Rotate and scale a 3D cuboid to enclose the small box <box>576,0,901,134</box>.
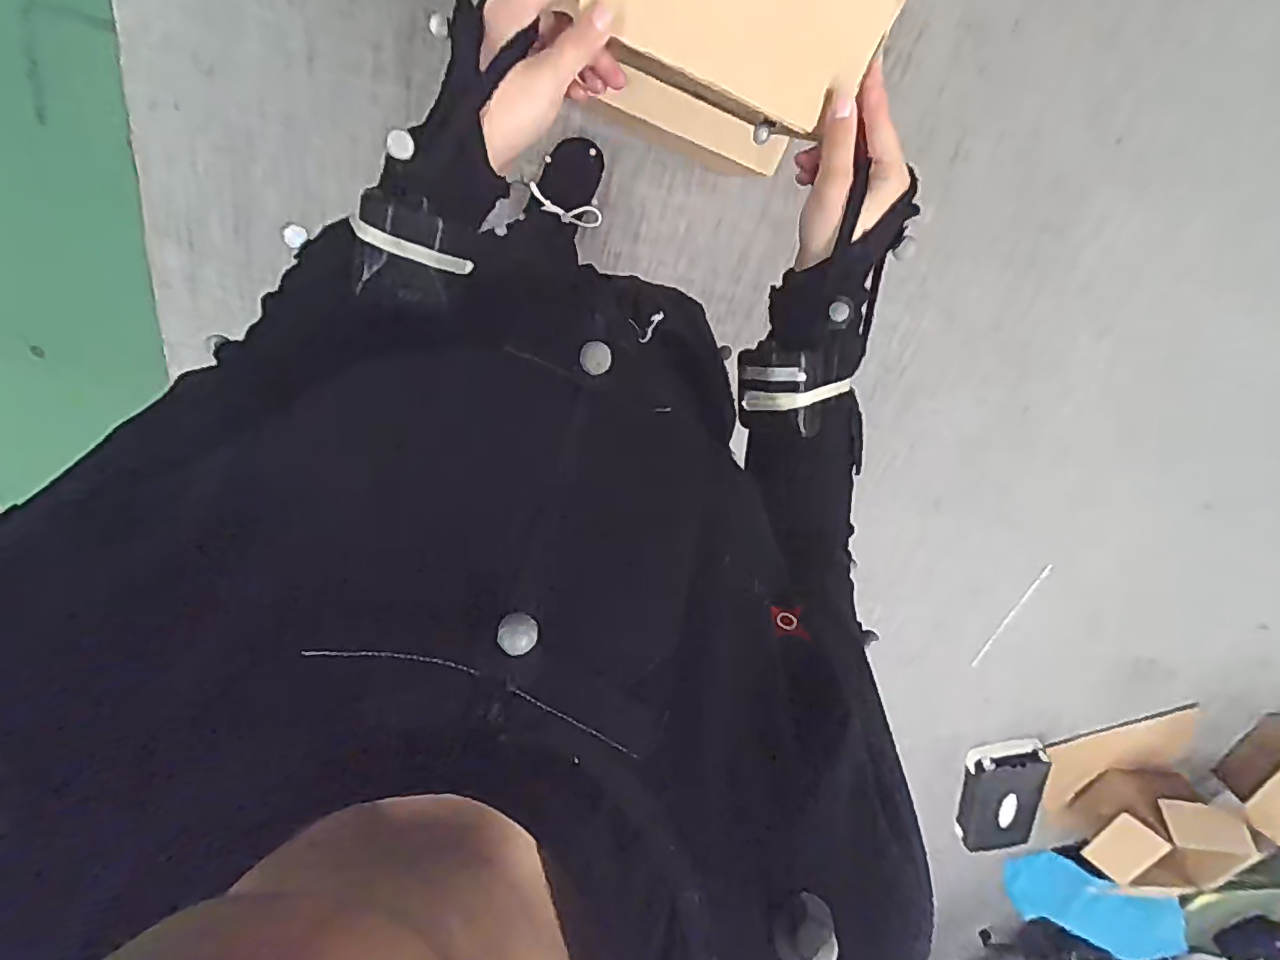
[{"bbox_3d":[0.066,-0.348,0.348,0.179,0.176,0.168,14,123,-15],"label":"small box"}]

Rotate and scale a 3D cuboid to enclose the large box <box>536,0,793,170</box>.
[{"bbox_3d":[0.069,-0.747,0.887,0.408,0.320,0.320,15,119,-14],"label":"large box"}]
